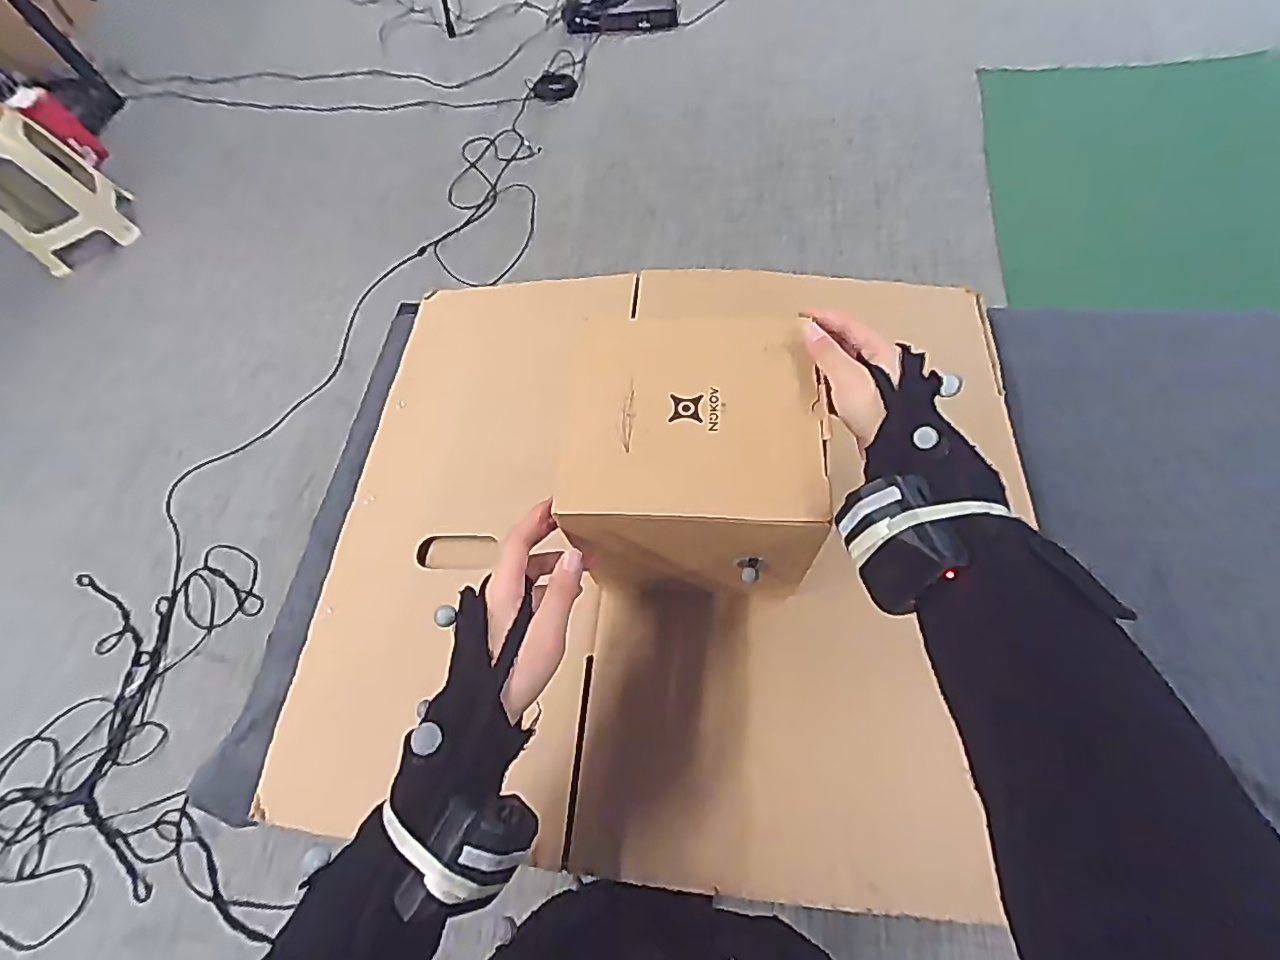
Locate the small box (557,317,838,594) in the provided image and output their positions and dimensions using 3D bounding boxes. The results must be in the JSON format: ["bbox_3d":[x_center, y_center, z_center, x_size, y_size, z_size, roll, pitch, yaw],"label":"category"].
[{"bbox_3d":[0.046,-0.010,0.439,0.179,0.176,0.168,0,62,7],"label":"small box"}]
